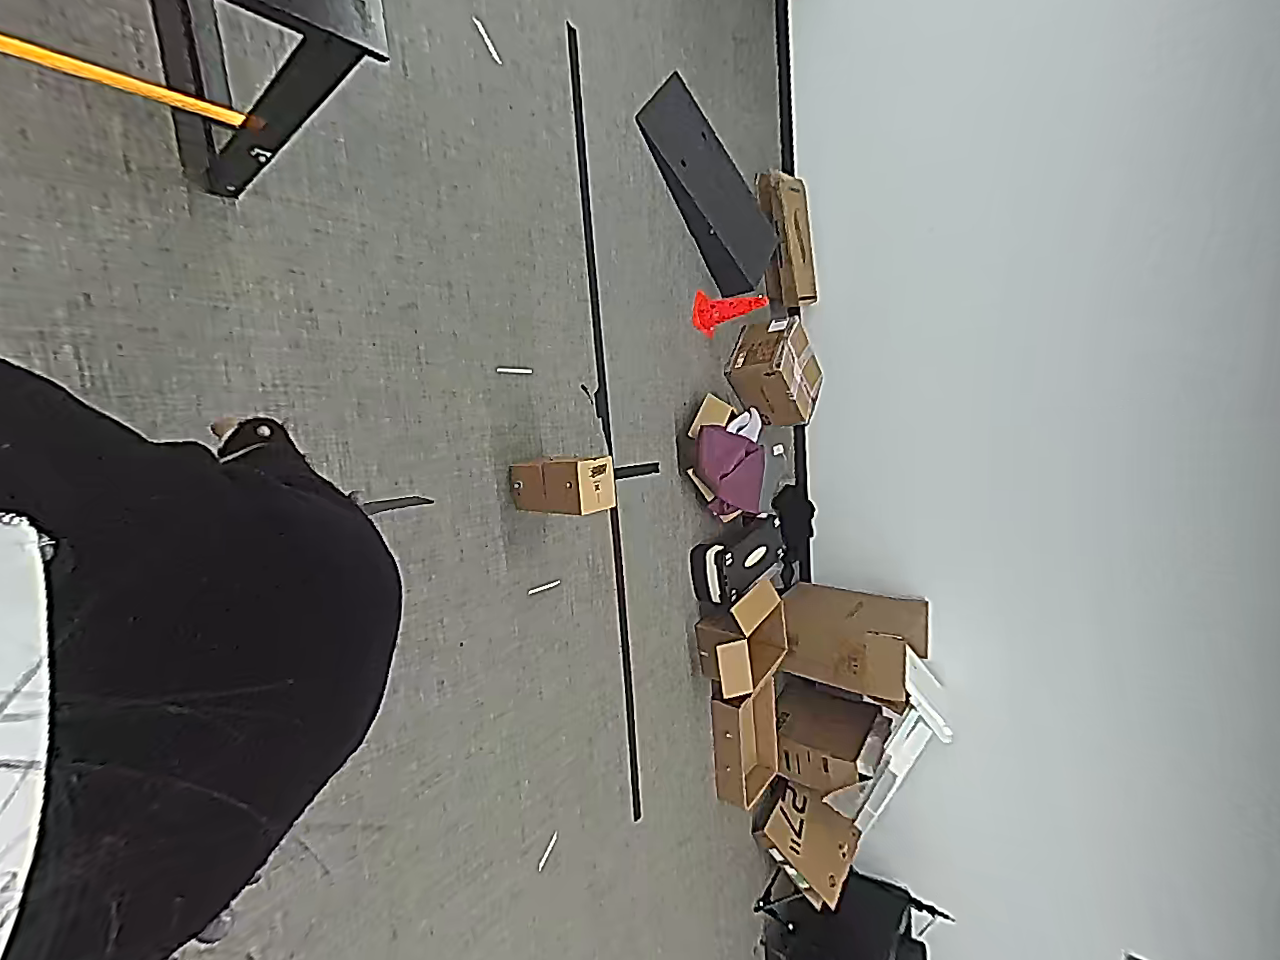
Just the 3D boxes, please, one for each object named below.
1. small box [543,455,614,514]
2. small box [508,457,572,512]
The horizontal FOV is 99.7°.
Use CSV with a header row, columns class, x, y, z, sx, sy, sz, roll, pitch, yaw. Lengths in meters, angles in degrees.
class,x,y,z,sx,sy,sz,roll,pitch,yaw
small box,-0.210,0.013,1.807,0.168,0.176,0.179,-13,101,-50
small box,-0.338,0.011,1.911,0.179,0.176,0.168,-19,105,-48
